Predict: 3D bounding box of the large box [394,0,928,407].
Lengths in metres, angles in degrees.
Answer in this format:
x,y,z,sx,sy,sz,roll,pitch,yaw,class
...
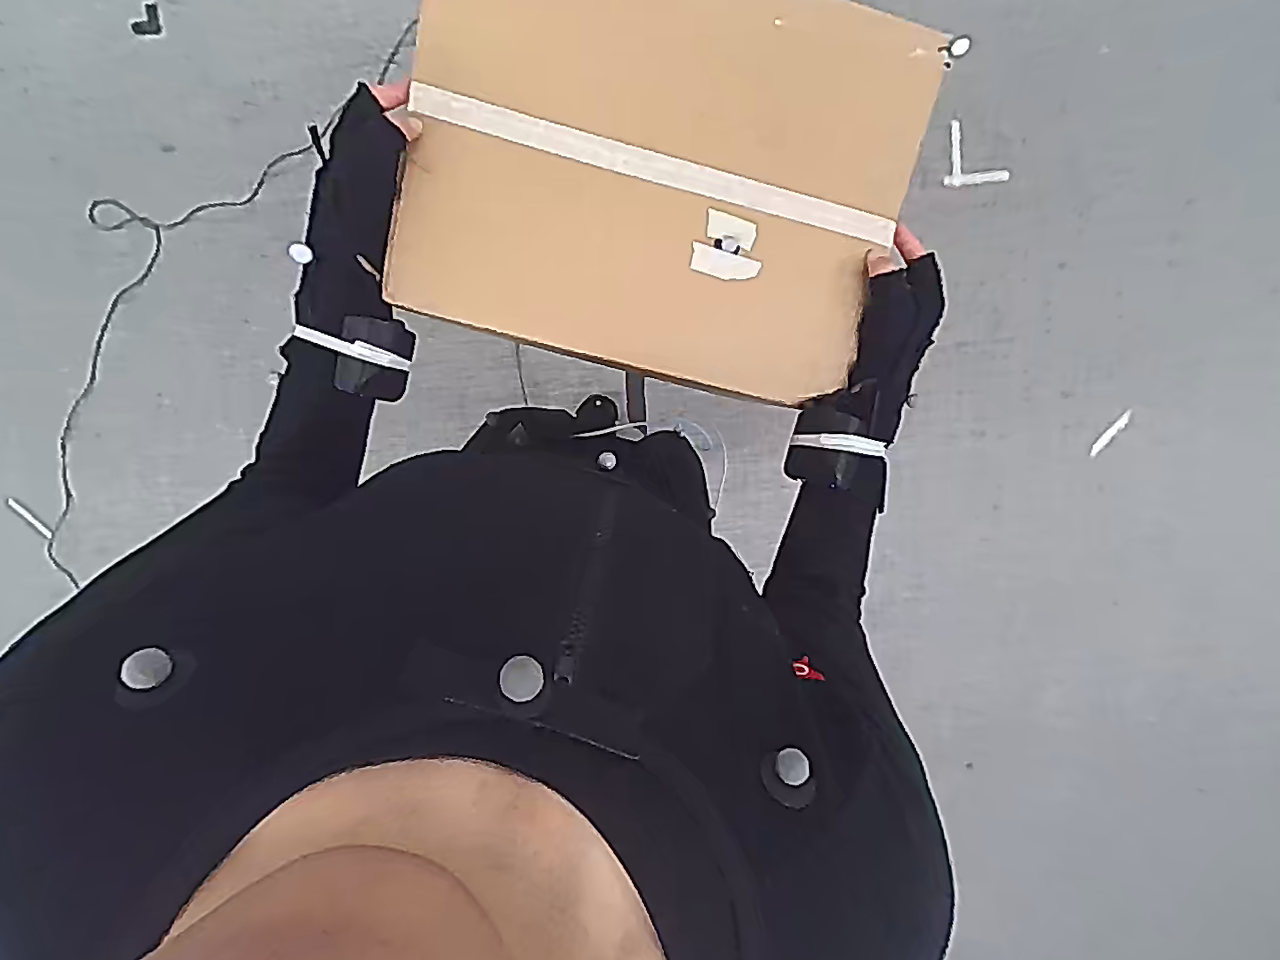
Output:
x,y,z,sx,sy,sz,roll,pitch,yaw,class
0.003,-0.279,0.596,0.408,0.320,0.320,12,101,-7,large box
